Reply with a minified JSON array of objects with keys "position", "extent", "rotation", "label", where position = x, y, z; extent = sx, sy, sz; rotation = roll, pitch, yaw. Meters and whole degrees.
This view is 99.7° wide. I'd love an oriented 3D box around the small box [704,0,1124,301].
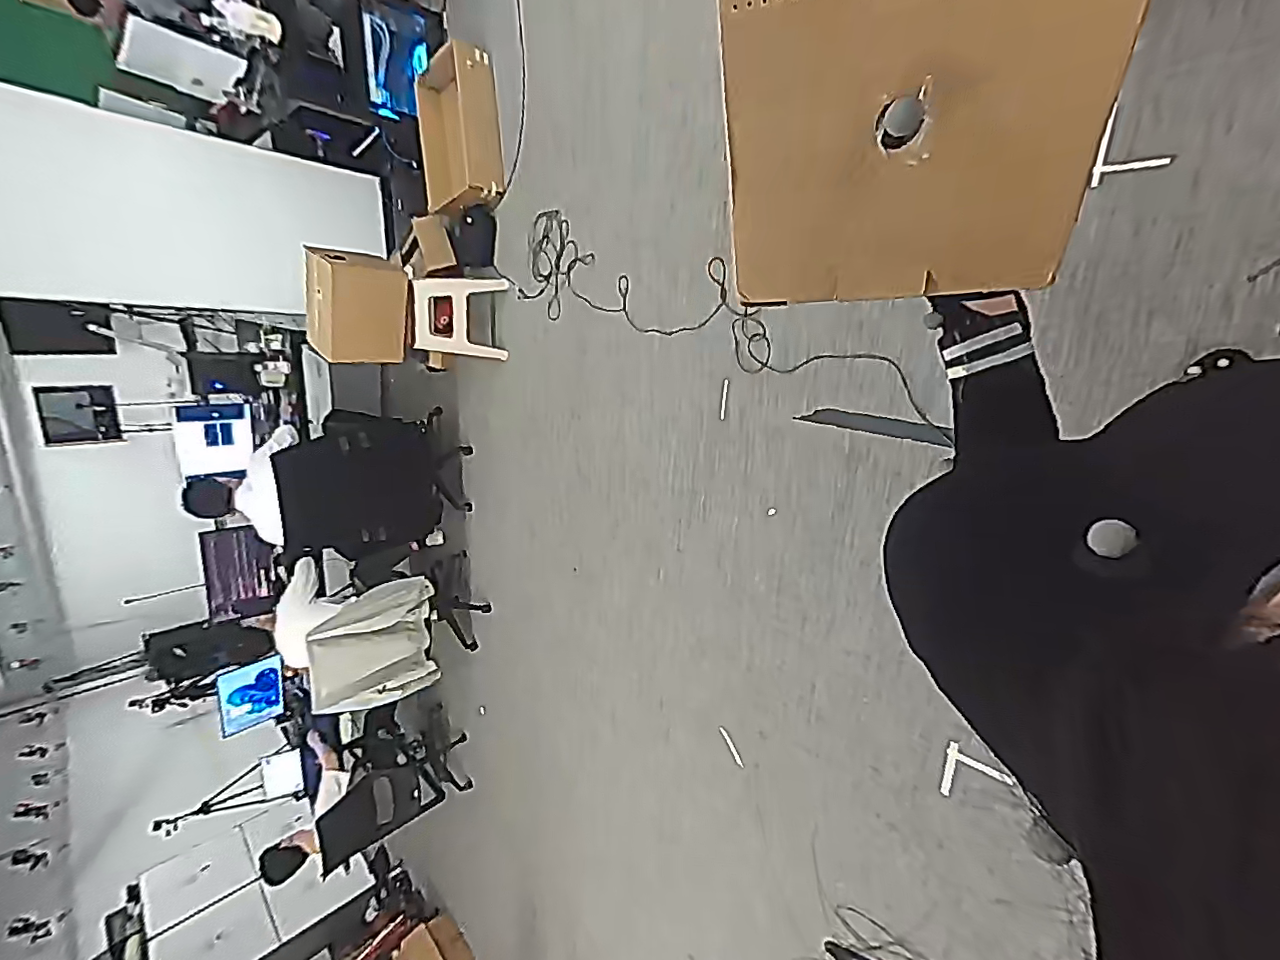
[{"position":[0.135,-0.220,0.300],"extent":[0.168,0.179,0.176],"rotation":[4,133,19],"label":"small box"}]
